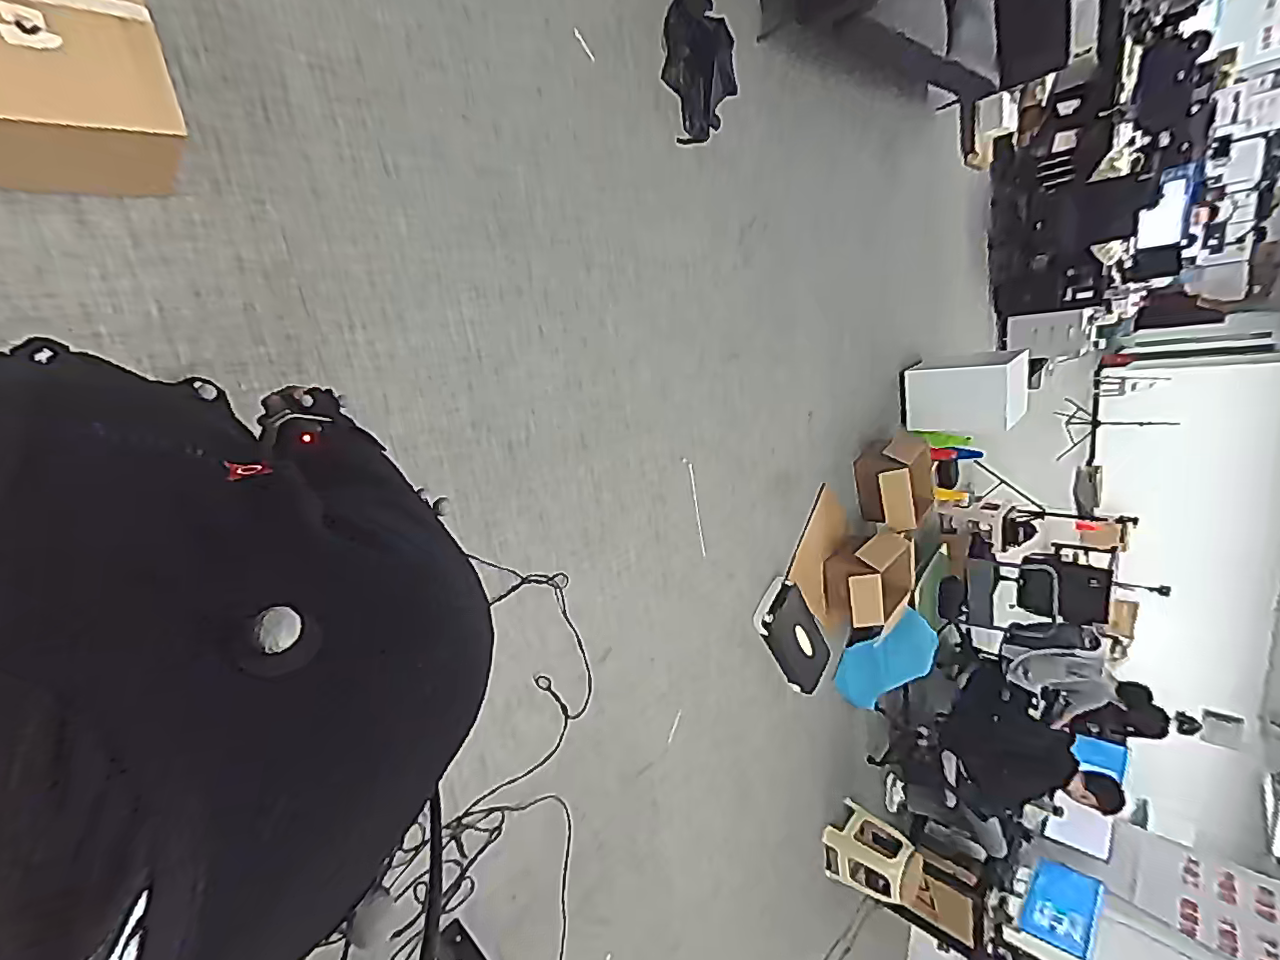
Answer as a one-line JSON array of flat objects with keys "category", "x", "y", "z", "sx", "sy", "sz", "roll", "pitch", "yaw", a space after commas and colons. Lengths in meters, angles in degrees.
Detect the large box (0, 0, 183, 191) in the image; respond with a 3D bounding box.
[{"category": "large box", "x": -0.953, "y": -0.615, "z": 0.745, "sx": 0.408, "sy": 0.320, "sz": 0.320, "roll": -24, "pitch": 112, "yaw": -42}]
